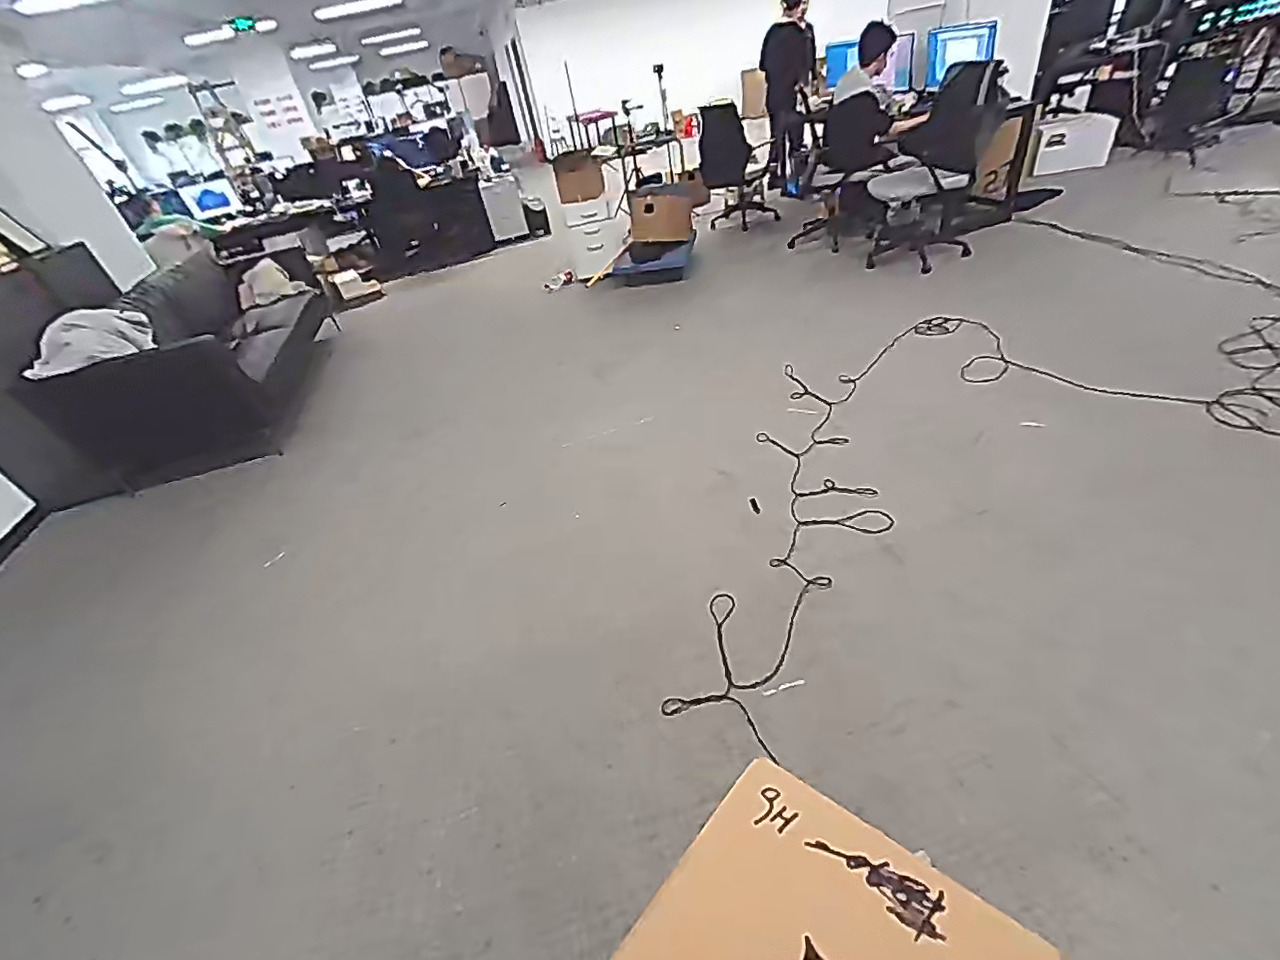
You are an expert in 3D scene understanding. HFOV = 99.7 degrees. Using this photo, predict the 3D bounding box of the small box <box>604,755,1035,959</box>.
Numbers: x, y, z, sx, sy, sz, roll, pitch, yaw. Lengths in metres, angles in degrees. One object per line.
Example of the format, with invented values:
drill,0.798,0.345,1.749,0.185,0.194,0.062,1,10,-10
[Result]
small box,0.094,0.311,0.304,0.168,0.176,0.179,16,44,42
